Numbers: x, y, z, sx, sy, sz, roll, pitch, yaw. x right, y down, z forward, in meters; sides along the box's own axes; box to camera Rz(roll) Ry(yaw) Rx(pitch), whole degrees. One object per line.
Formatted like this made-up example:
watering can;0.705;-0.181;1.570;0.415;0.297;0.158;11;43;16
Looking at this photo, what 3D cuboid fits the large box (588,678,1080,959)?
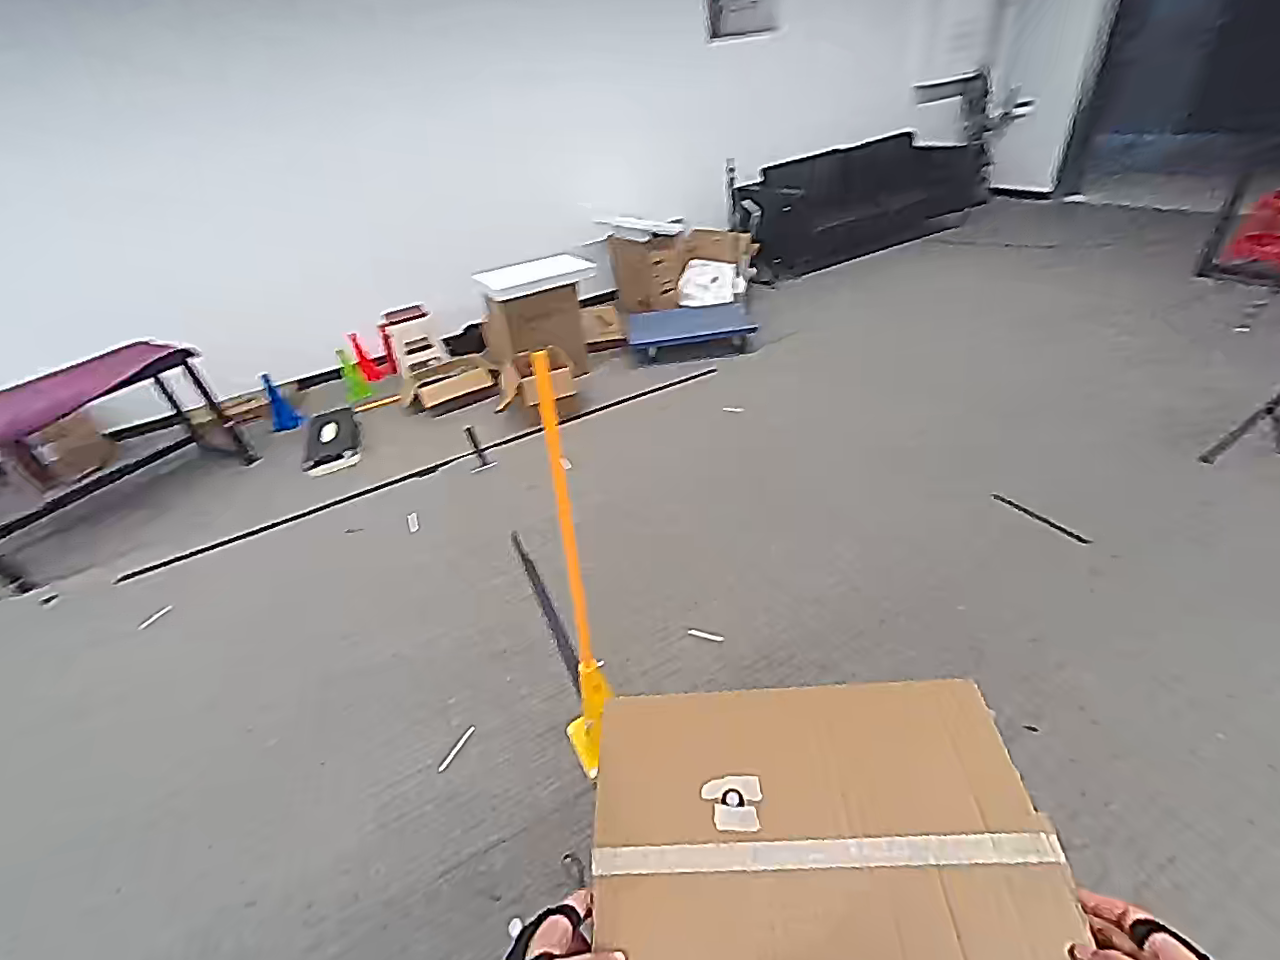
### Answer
large box;0.173;0.452;0.601;0.408;0.320;0.320;-7;43;6
